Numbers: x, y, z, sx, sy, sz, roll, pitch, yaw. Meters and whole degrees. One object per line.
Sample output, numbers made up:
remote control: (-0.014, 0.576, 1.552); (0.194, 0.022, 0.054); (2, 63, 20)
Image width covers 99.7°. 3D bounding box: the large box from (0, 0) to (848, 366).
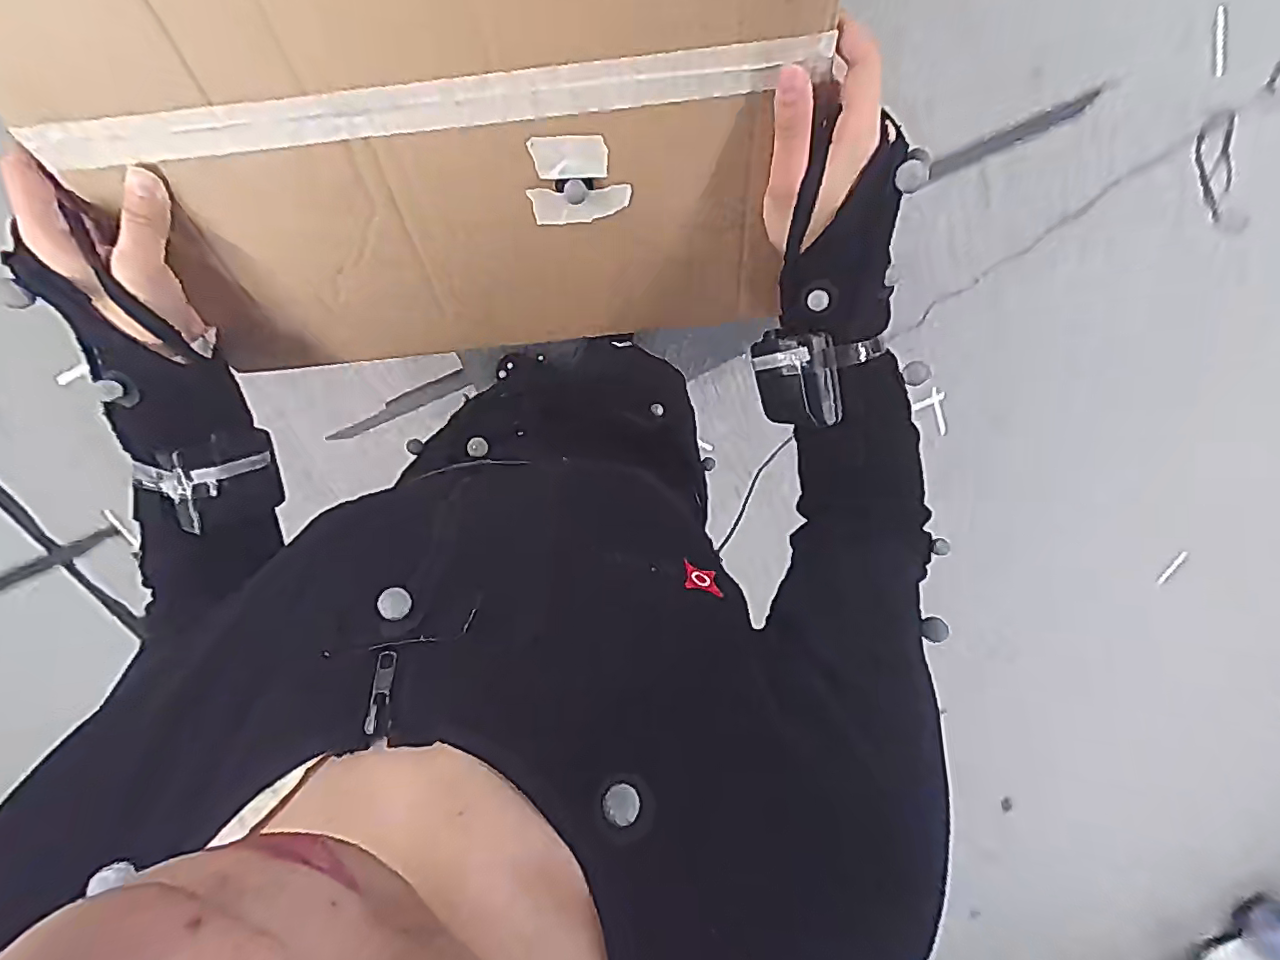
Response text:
large box: (-0.110, -0.316, 0.370); (0.408, 0.320, 0.320); (-6, 145, -1)
